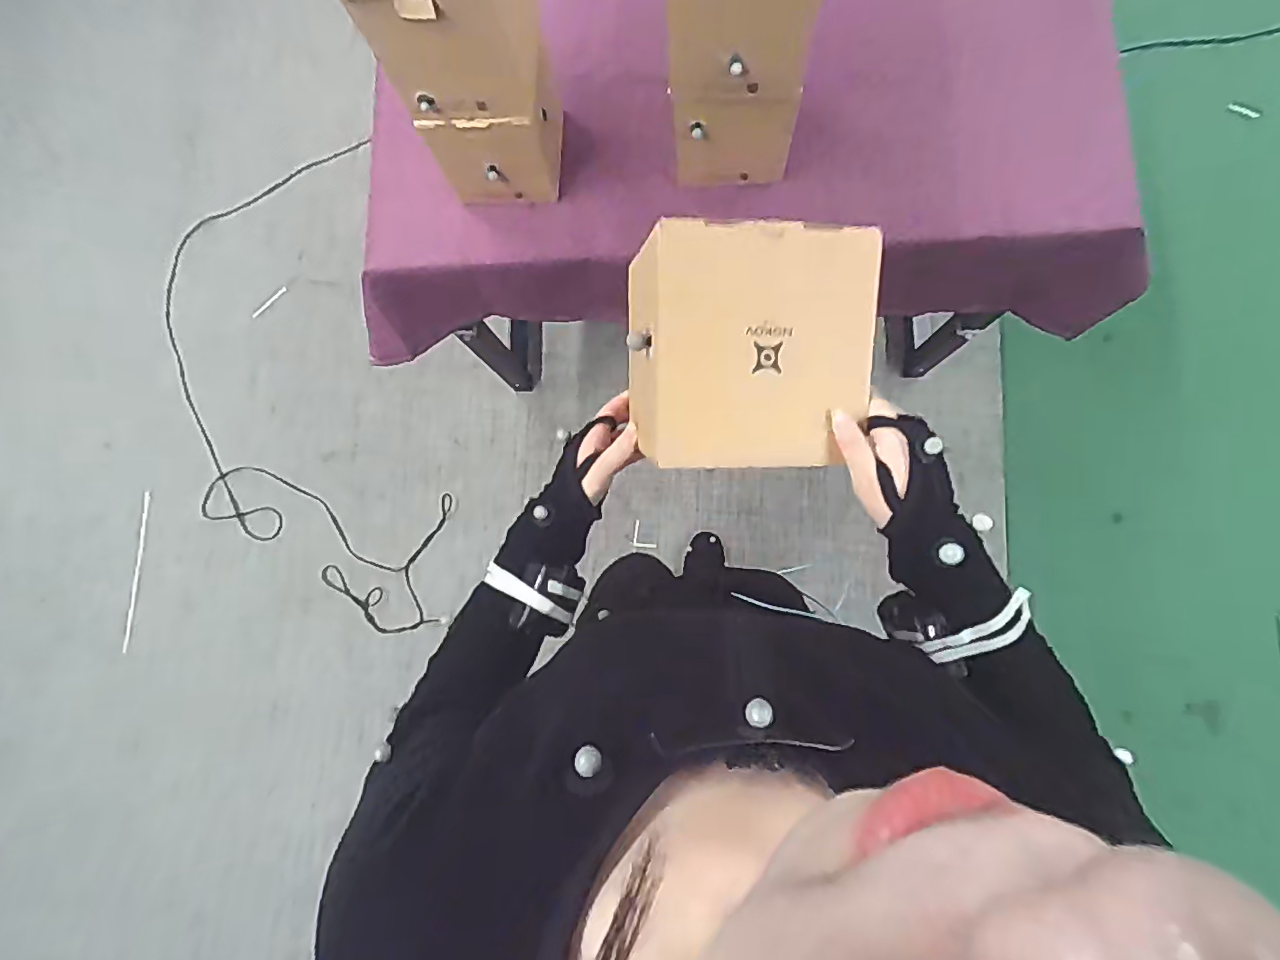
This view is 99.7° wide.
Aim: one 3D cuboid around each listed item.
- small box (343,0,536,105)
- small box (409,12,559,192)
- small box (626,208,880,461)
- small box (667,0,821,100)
[{"bbox_3d":[-0.230,-0.589,0.650,0.168,0.176,0.179,3,82,4],"label":"small box"},{"bbox_3d":[-0.222,-0.560,0.812,0.168,0.176,0.179,2,83,3],"label":"small box"},{"bbox_3d":[0.080,-0.117,0.473,0.168,0.176,0.179,-1,101,-8],"label":"small box"},{"bbox_3d":[0.119,-0.588,0.625,0.168,0.176,0.179,4,83,5],"label":"small box"}]
